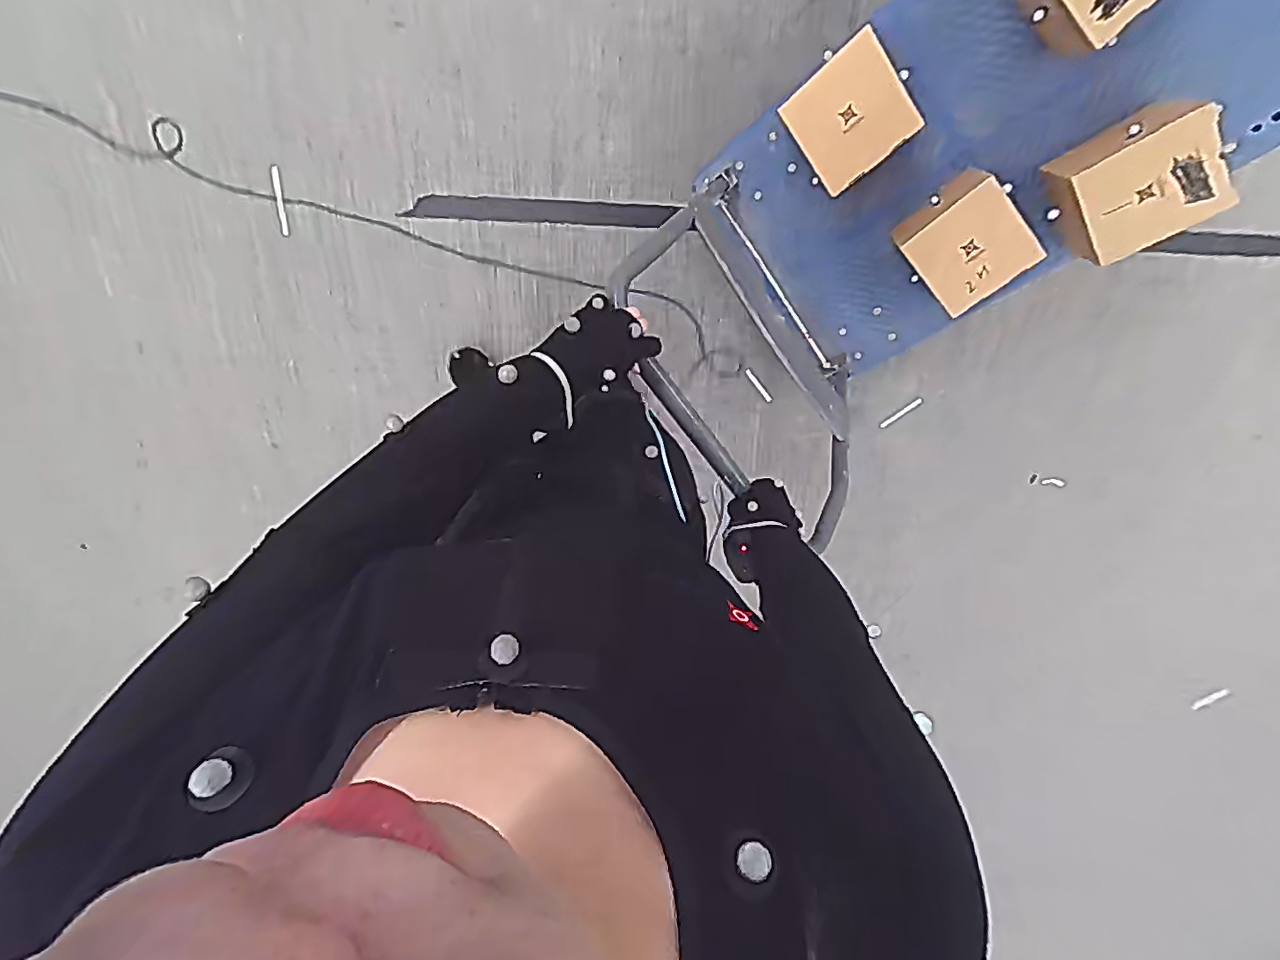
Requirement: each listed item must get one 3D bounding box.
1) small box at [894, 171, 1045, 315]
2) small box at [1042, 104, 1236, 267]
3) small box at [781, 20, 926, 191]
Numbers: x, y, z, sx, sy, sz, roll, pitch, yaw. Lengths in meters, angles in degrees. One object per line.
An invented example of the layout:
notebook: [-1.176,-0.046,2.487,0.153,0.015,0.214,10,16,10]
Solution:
small box: [0.598,-0.444,1.005,0.179,0.176,0.168,45,125,-14]
small box: [0.817,-0.492,0.901,0.179,0.176,0.168,-24,113,31]
small box: [0.364,-0.643,0.945,0.168,0.176,0.179,-31,111,32]
